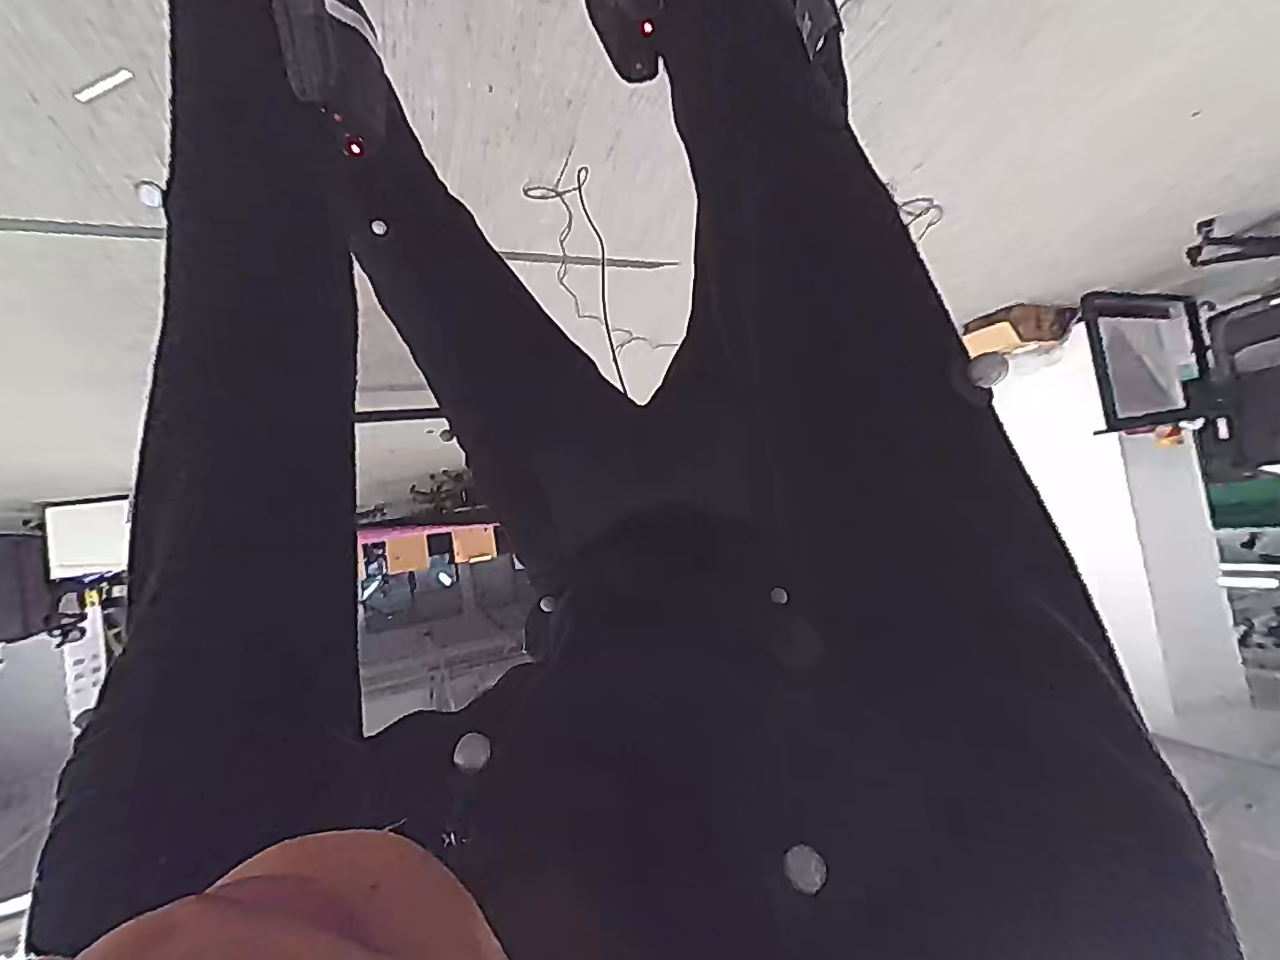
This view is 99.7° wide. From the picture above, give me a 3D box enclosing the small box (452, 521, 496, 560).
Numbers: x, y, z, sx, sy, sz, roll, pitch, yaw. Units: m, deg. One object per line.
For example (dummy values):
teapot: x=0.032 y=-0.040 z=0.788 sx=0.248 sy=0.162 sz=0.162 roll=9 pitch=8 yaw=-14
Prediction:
small box: x=-0.822 y=0.296 z=2.665 sx=0.168 sy=0.176 sz=0.179 roll=-6 pitch=176 yaw=-31
